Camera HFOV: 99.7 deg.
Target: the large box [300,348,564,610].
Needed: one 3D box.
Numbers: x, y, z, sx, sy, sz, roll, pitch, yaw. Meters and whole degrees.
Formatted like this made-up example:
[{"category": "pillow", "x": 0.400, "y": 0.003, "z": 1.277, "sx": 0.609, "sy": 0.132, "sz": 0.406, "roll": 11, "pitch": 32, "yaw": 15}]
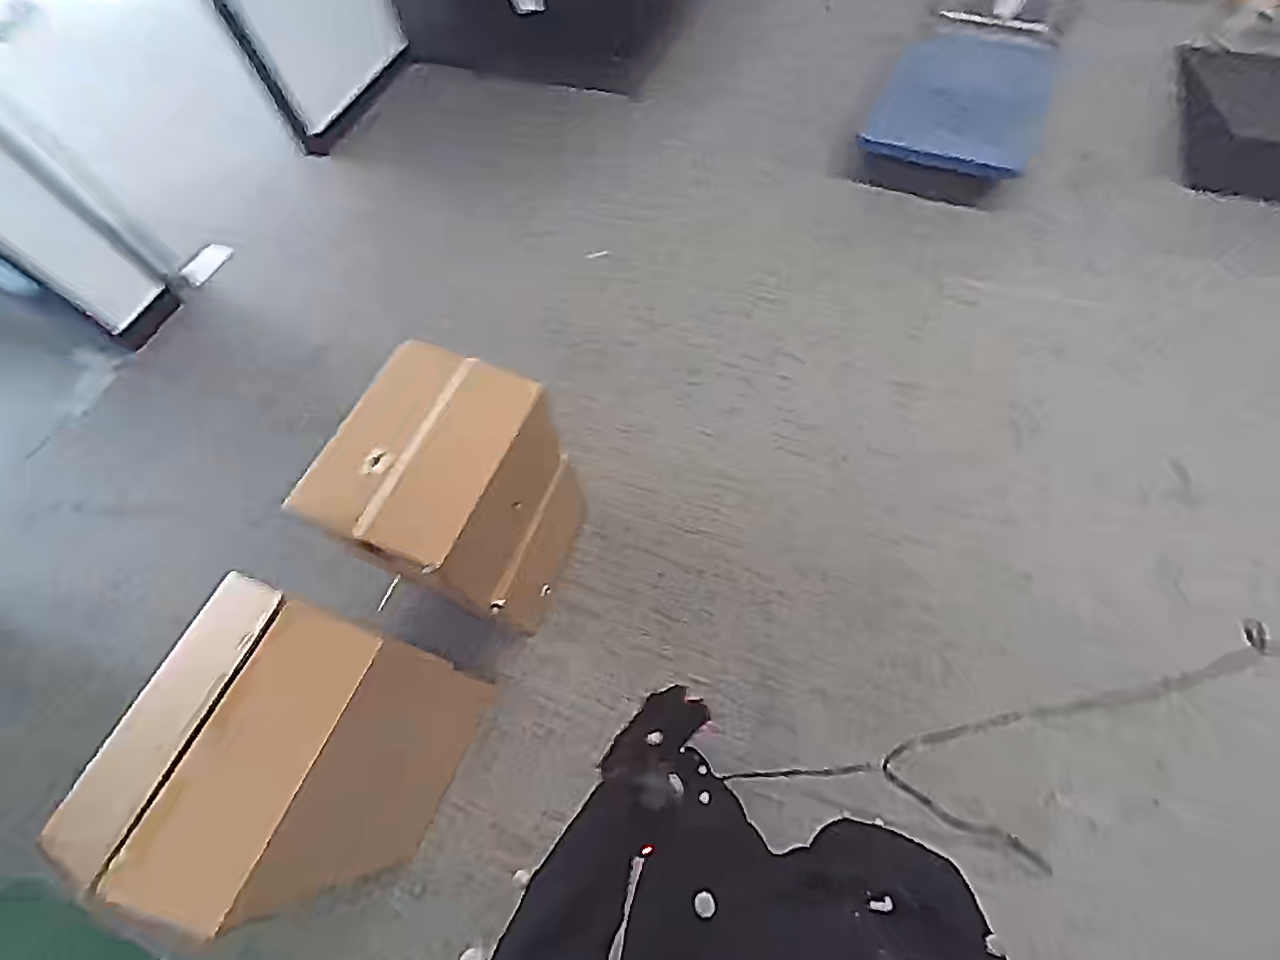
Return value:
[{"category": "large box", "x": -0.391, "y": 0.006, "z": 1.141, "sx": 0.320, "sy": 0.320, "sz": 0.408, "roll": 20, "pitch": 66, "yaw": 10}]
